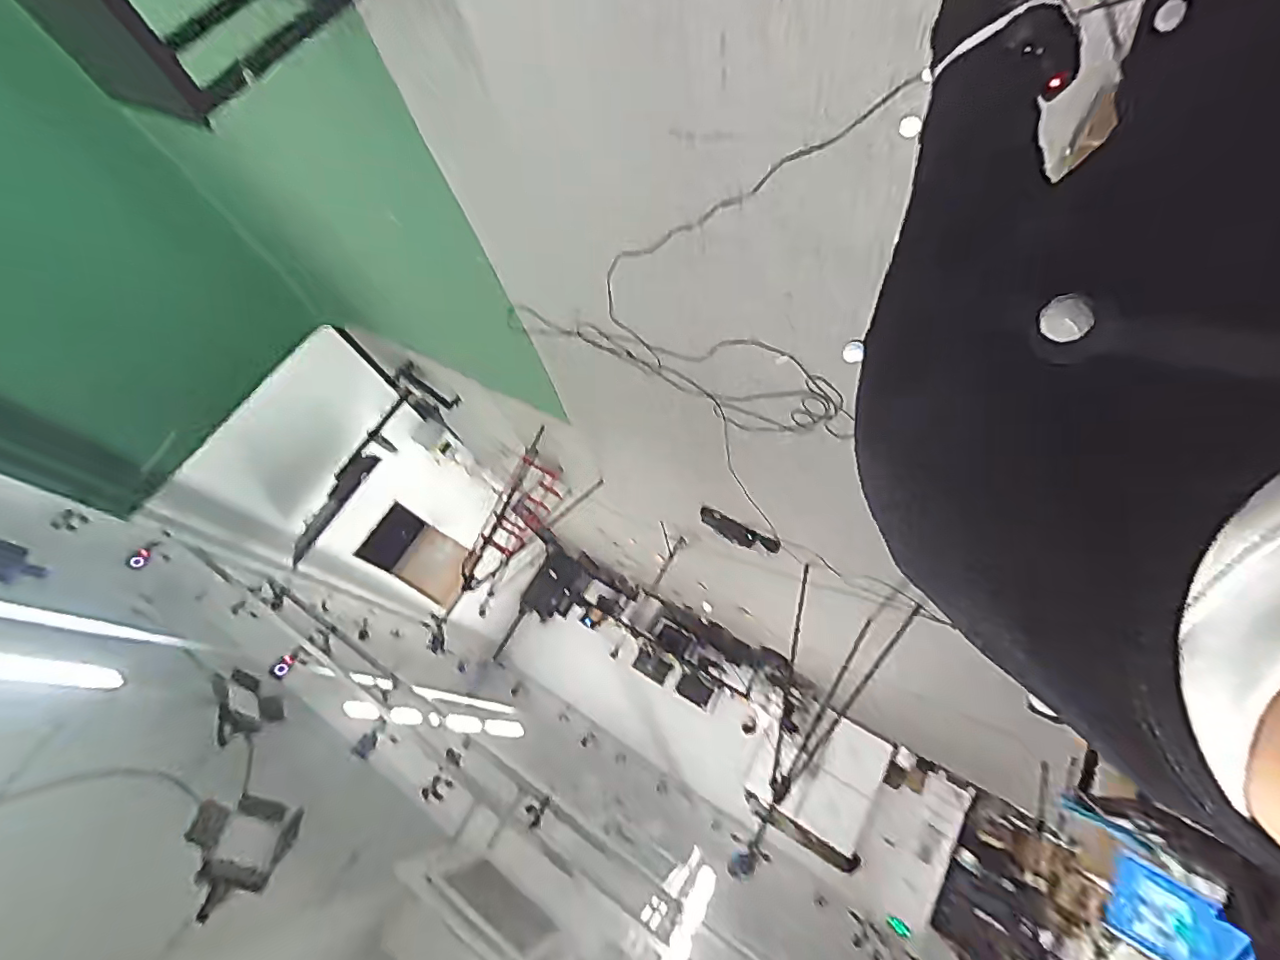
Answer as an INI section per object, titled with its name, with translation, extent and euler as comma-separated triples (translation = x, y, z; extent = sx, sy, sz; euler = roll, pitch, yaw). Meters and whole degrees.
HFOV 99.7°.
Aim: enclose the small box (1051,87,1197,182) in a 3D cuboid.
[small box]
translation = 0.937, -0.631, 1.066
extent = 0.168, 0.176, 0.179
euler = 27, 161, 19
